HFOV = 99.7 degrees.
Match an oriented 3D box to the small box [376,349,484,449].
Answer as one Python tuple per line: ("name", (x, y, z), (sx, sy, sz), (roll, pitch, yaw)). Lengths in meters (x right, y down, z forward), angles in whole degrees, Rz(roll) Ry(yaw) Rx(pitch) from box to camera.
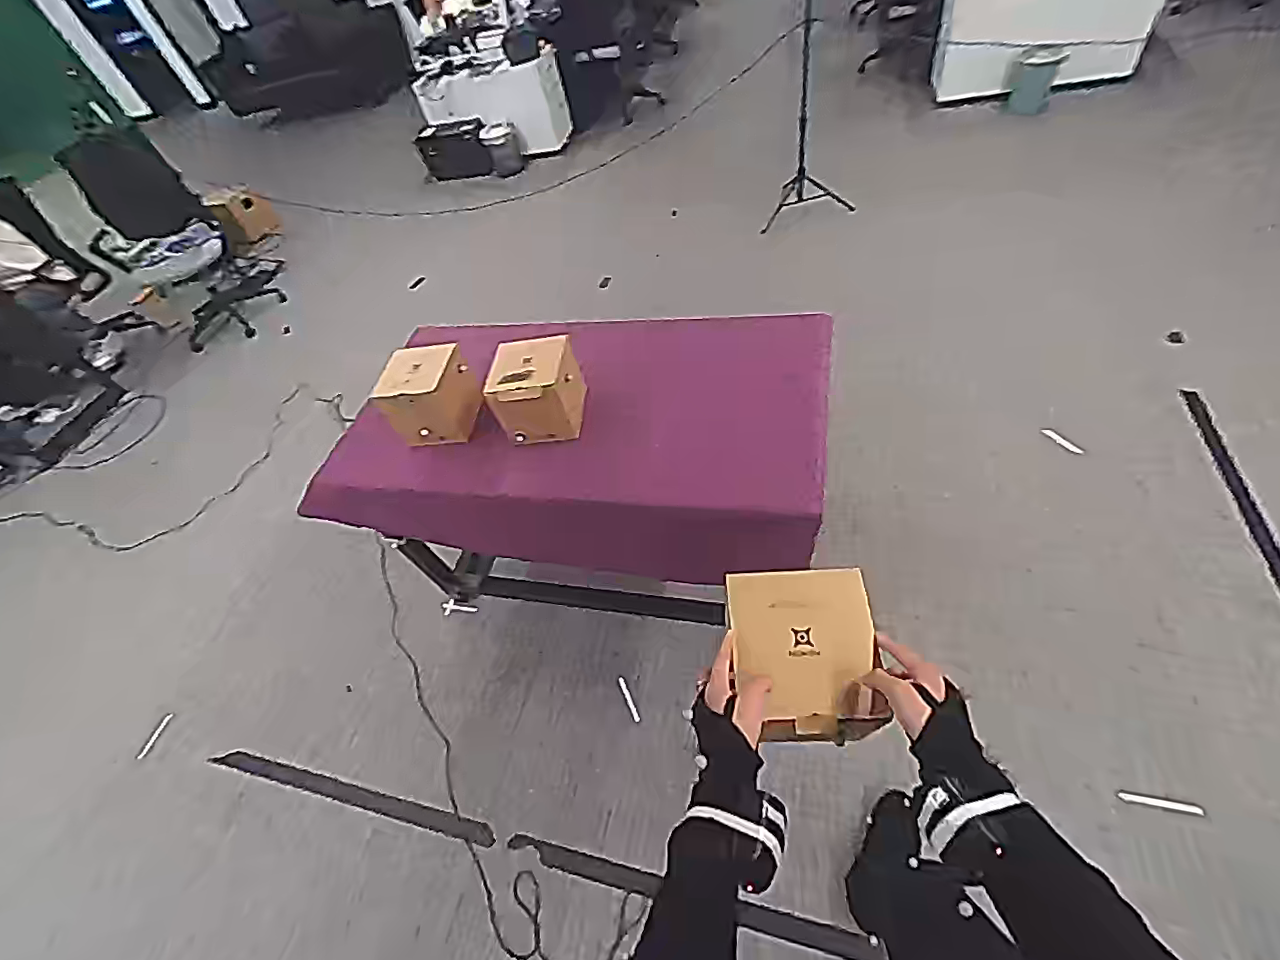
("small box", (-0.505, -0.197, 1.333), (0.168, 0.176, 0.179), (-4, 52, 12))

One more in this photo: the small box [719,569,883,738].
("small box", (0.193, 0.230, 0.697), (0.168, 0.176, 0.179), (-4, 57, 6))

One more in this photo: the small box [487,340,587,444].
("small box", (-0.230, -0.197, 1.263), (0.168, 0.176, 0.179), (-5, 51, 11))
